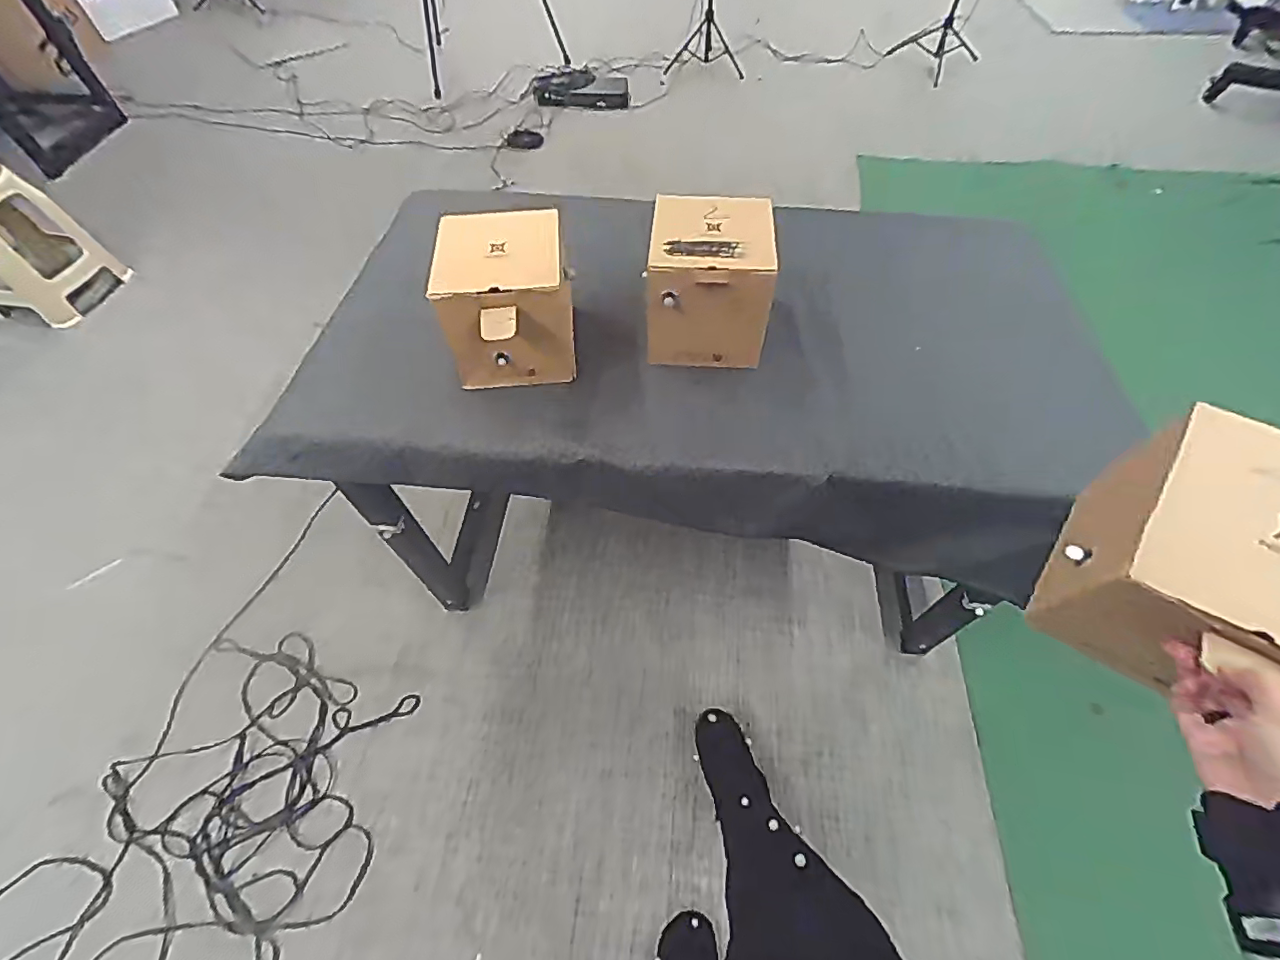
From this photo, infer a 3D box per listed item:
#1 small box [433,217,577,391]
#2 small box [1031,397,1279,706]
[{"bbox_3d":[-0.182,-0.251,0.779,0.168,0.176,0.179,-5,56,-3],"label":"small box"},{"bbox_3d":[0.476,0.070,0.459,0.168,0.176,0.179,29,72,21],"label":"small box"}]
